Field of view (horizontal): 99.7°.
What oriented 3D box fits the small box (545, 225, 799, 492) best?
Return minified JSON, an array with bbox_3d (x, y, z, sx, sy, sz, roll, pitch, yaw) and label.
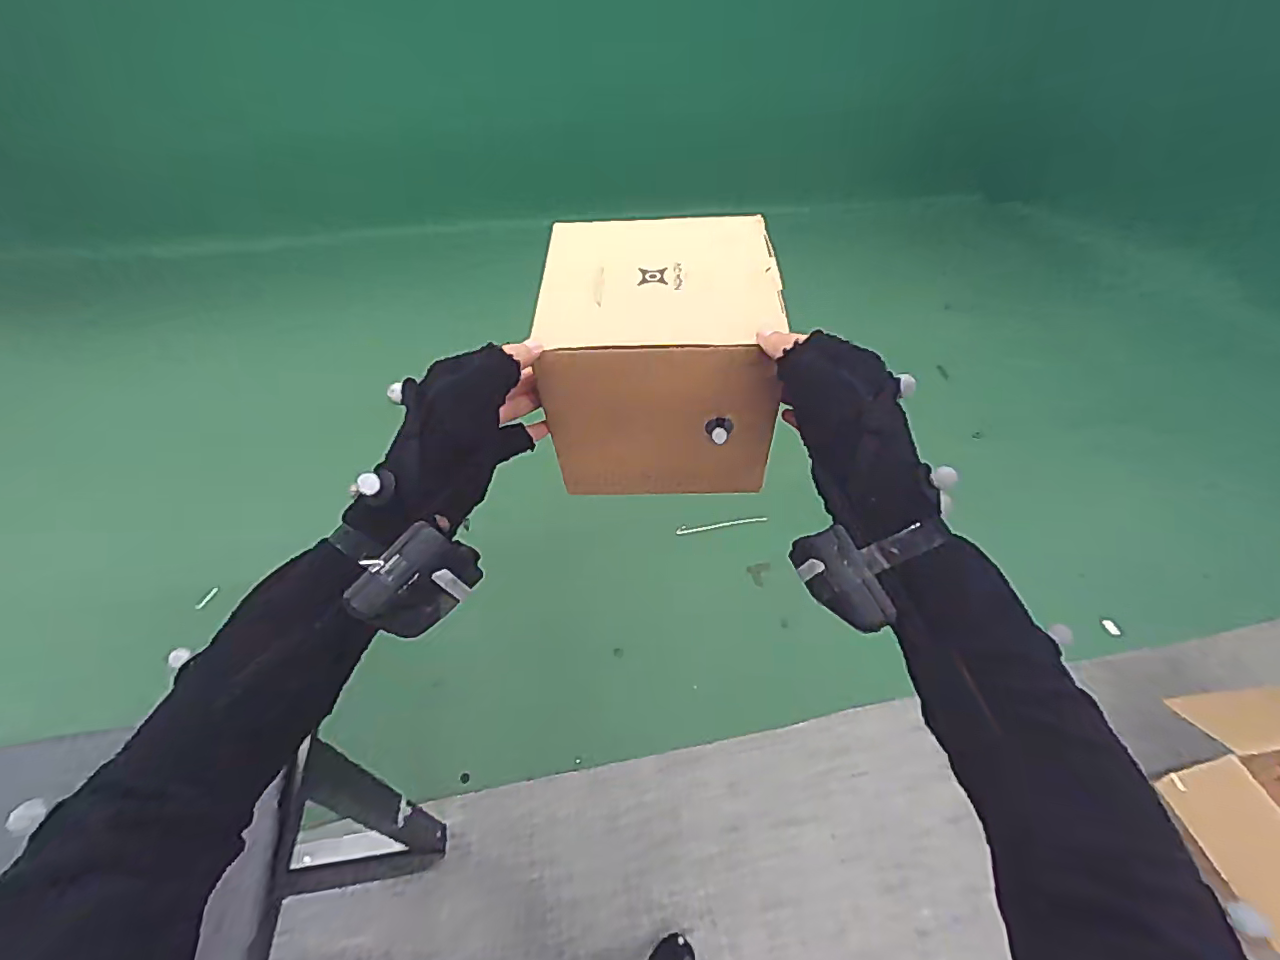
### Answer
[{"bbox_3d":[0.026,-0.101,0.477,0.179,0.176,0.168,0,51,2],"label":"small box"}]
